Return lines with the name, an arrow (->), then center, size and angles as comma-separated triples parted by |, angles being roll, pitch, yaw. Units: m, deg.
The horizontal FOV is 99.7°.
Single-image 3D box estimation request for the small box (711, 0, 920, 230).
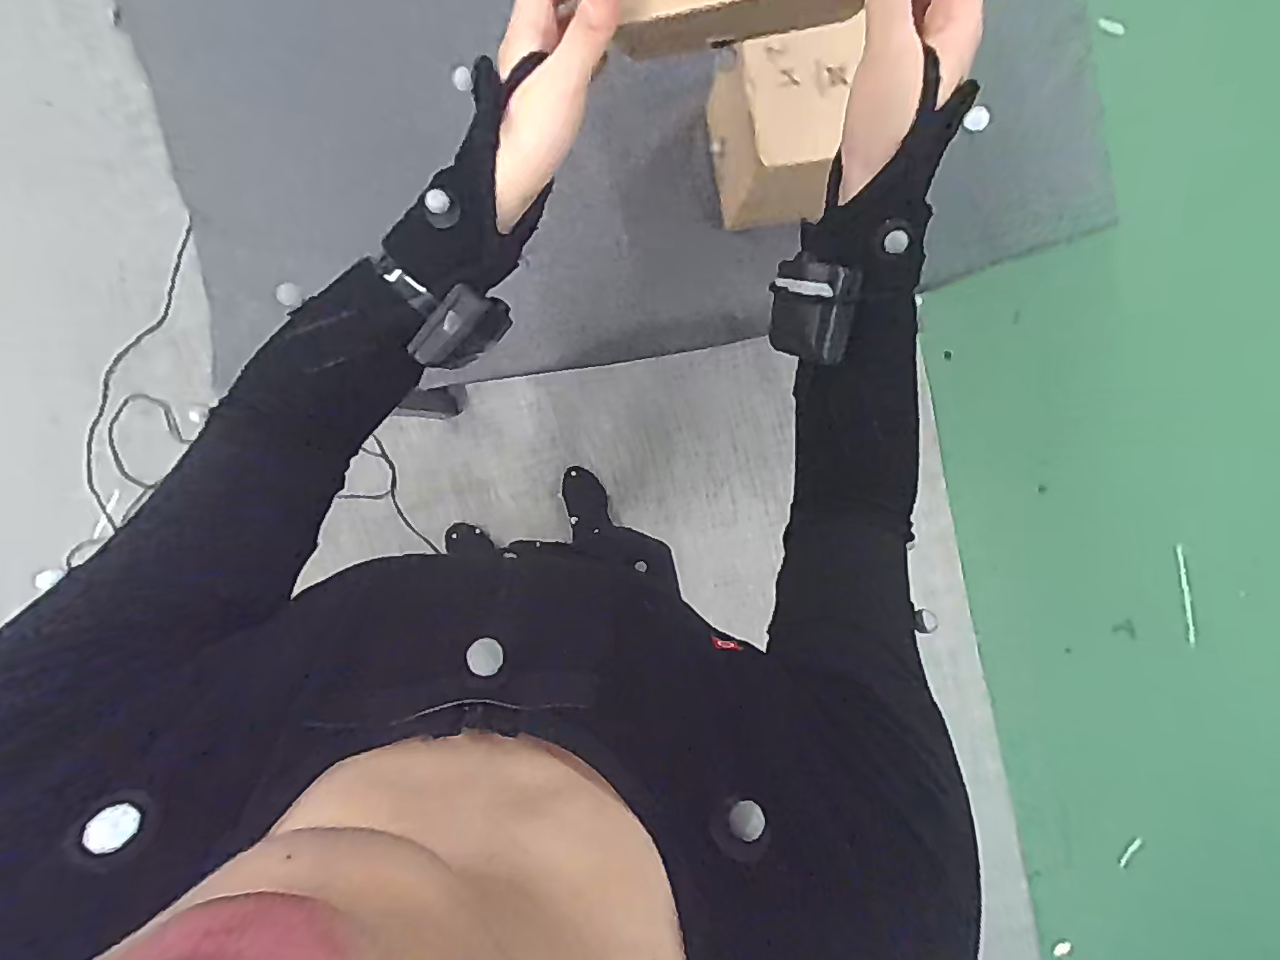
small box -> 0.193, -0.418, 0.637 | 0.179, 0.176, 0.168 | -9, 94, -2
